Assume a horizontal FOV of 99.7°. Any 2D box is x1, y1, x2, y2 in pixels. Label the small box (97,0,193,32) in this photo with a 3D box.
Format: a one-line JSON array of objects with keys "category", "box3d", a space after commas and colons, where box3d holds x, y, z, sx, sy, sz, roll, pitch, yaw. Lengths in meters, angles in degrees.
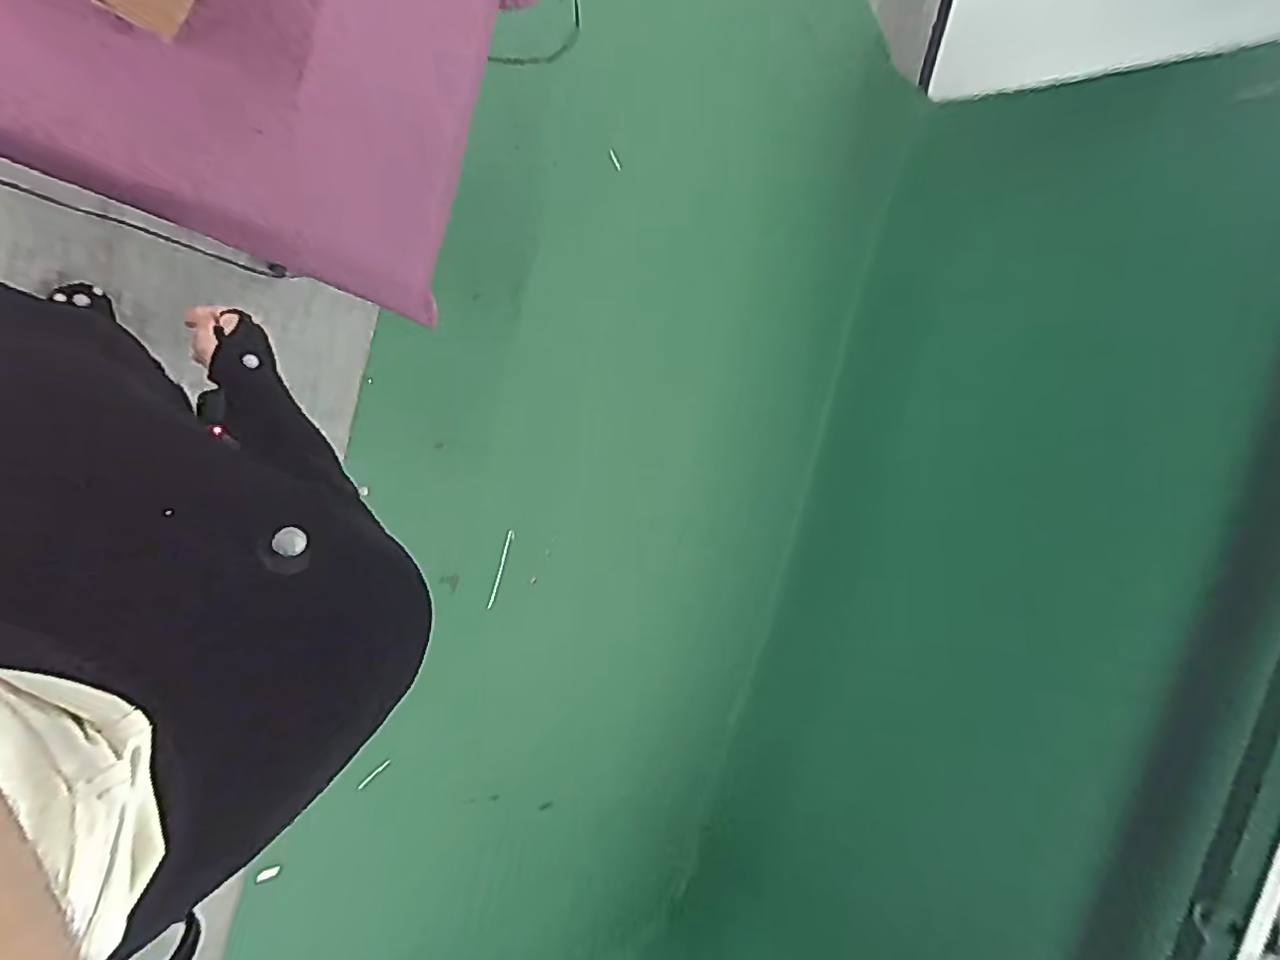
[{"category": "small box", "box3d": [-0.522, -0.587, 0.511, 0.168, 0.176, 0.179, 10, 97, -50]}]
